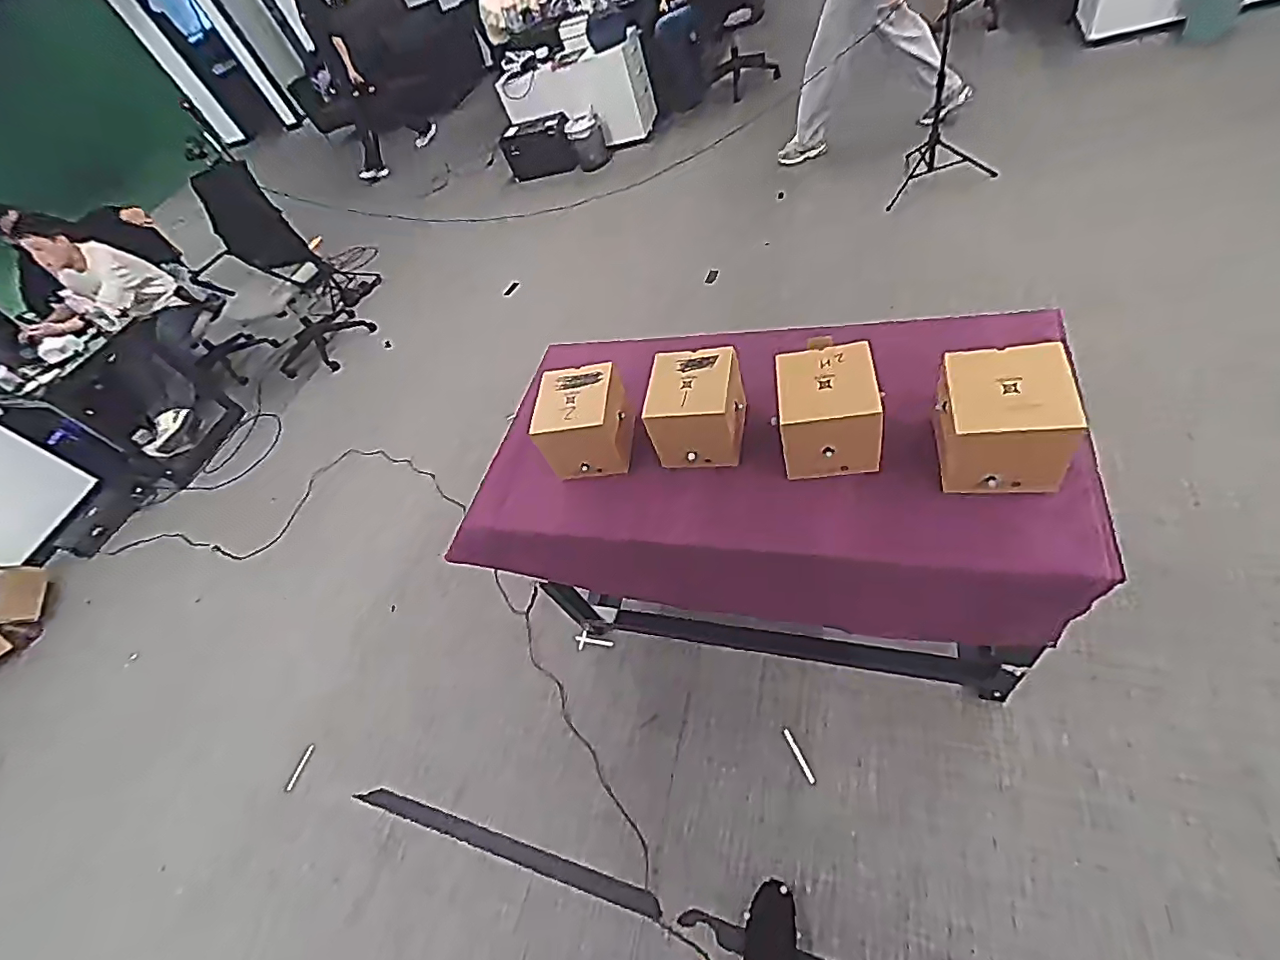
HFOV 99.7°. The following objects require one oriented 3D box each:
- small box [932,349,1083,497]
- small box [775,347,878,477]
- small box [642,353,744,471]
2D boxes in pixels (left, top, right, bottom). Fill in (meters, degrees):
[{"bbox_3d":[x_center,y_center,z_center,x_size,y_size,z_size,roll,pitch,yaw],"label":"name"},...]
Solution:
[{"bbox_3d":[0.592,-0.090,0.899,0.168,0.176,0.179,-1,53,22],"label":"small box"},{"bbox_3d":[0.348,-0.119,1.017,0.168,0.176,0.179,-5,52,17],"label":"small box"},{"bbox_3d":[0.118,-0.137,1.122,0.168,0.176,0.179,-1,55,21],"label":"small box"}]
